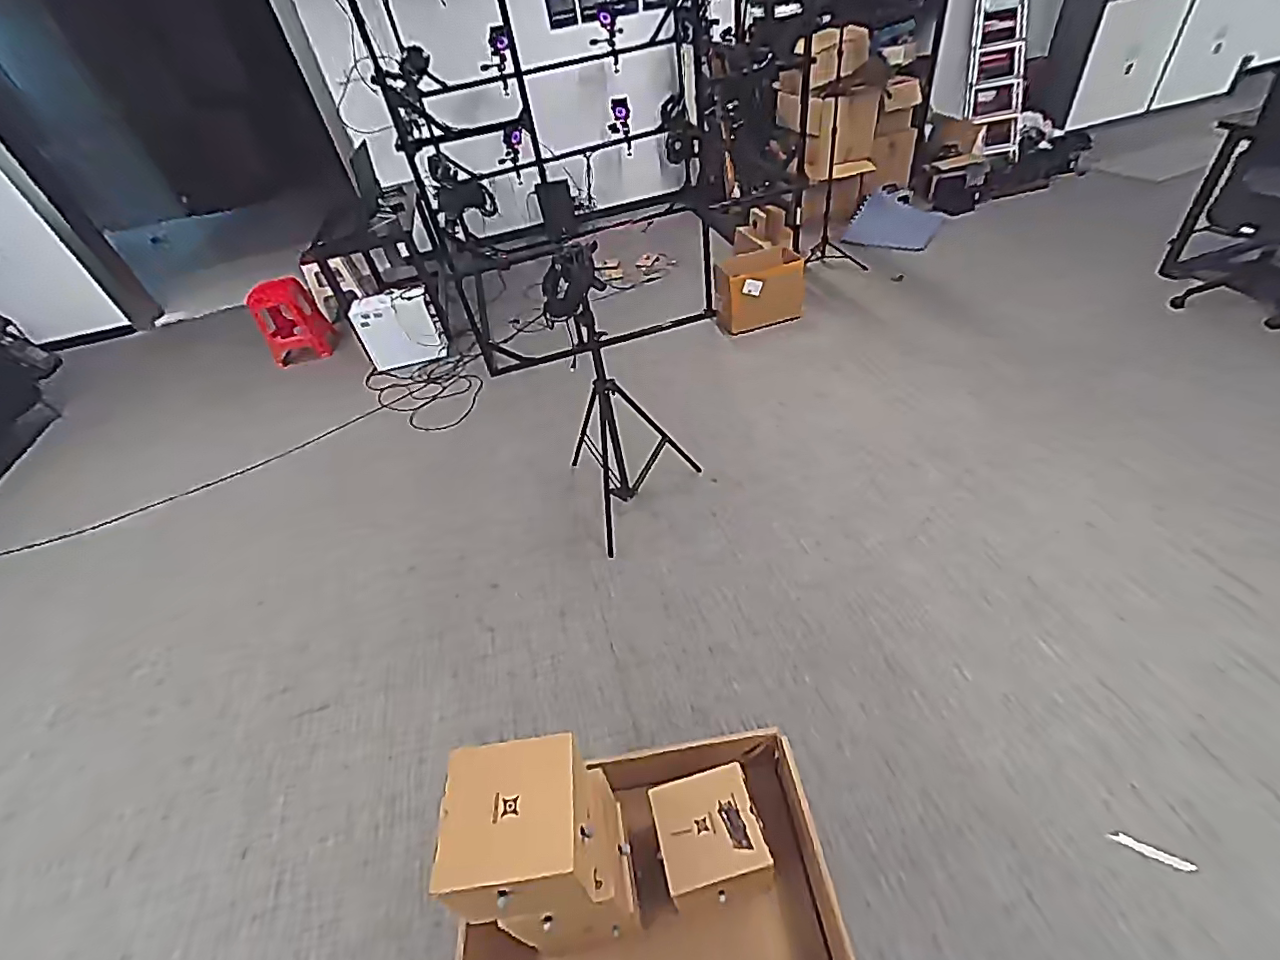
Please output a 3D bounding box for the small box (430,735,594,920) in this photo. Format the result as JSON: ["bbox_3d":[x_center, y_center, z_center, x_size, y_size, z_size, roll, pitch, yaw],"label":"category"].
[{"bbox_3d":[-0.160,0.477,0.743,0.179,0.176,0.168,-10,42,0],"label":"small box"}]

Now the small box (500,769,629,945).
[{"bbox_3d":[-0.116,0.593,0.853,0.168,0.176,0.179,-11,41,-3],"label":"small box"}]
